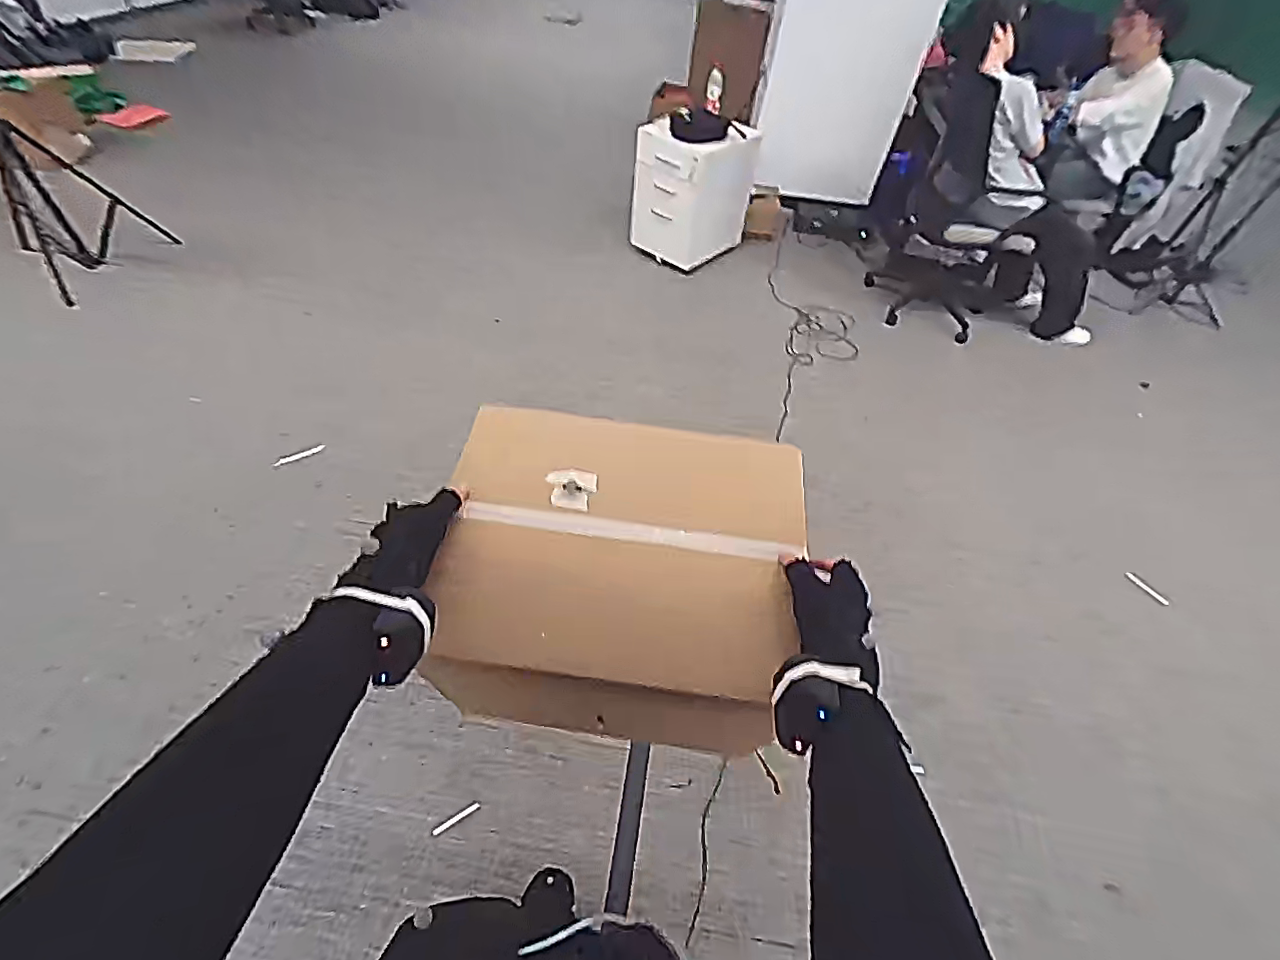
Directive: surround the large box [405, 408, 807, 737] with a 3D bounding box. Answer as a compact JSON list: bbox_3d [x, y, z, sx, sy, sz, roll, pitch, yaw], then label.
[{"bbox_3d":[-0.023,0.138,0.729,0.408,0.320,0.320,8,55,2],"label":"large box"}]
